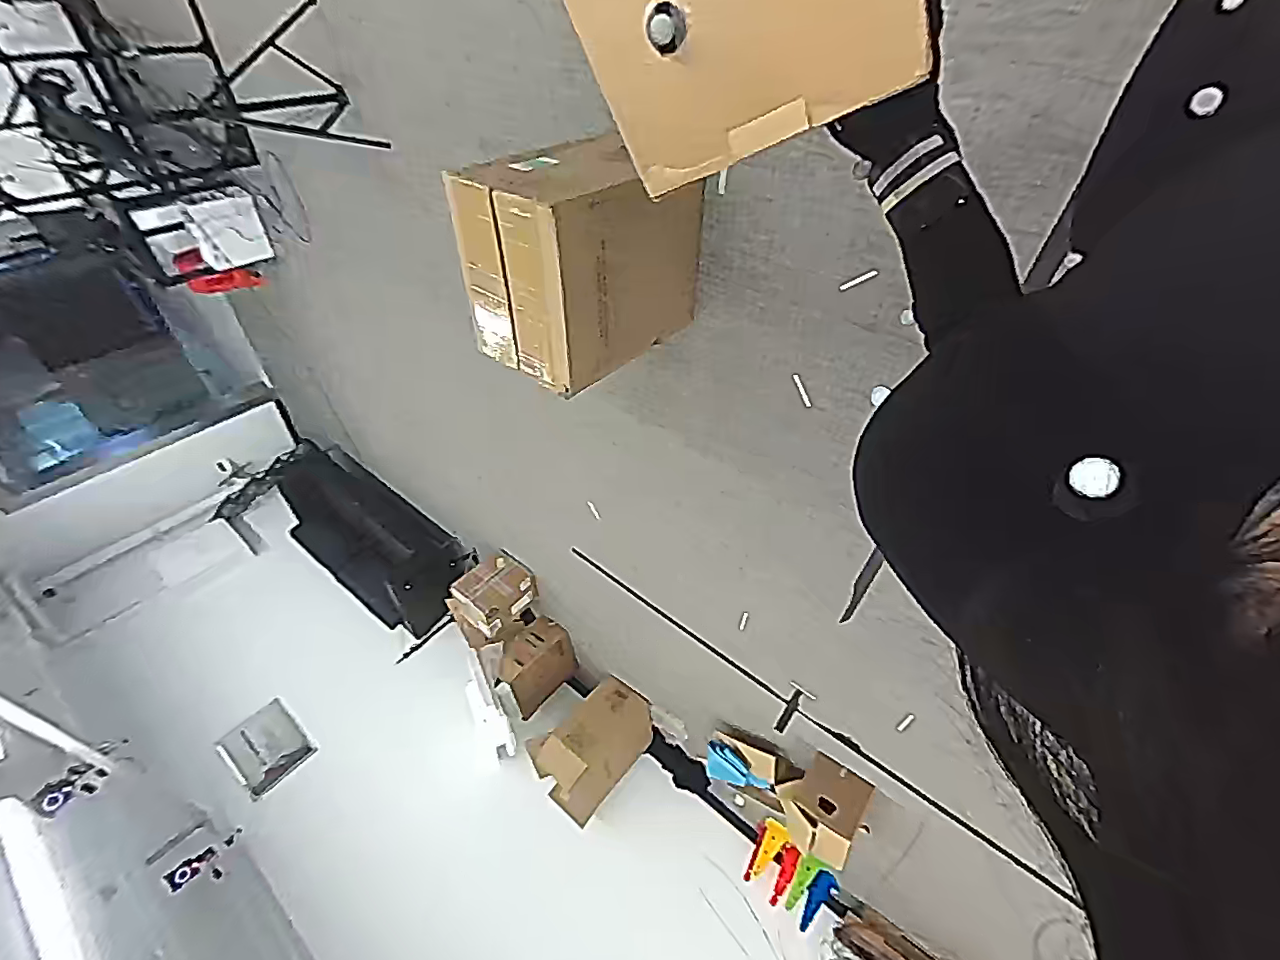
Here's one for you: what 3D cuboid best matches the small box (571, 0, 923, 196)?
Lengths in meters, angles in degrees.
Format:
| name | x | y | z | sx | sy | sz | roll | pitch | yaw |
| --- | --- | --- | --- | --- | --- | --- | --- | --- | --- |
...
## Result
| name | x | y | z | sx | sy | sz | roll | pitch | yaw |
| --- | --- | --- | --- | --- | --- | --- | --- | --- | --- |
| small box | 0.060 | -0.315 | 0.327 | 0.168 | 0.179 | 0.176 | -9 | 131 | 30 |
